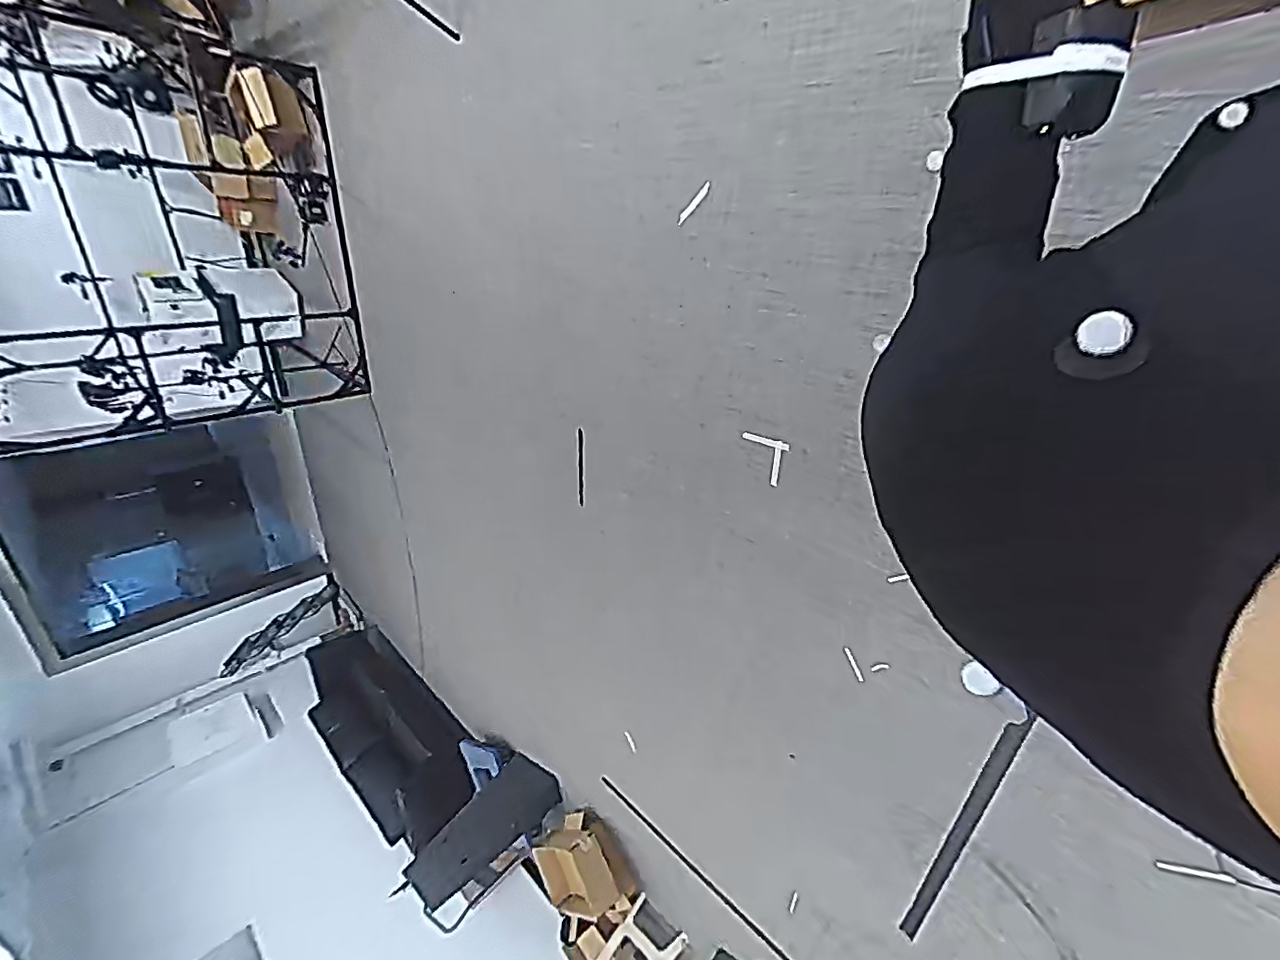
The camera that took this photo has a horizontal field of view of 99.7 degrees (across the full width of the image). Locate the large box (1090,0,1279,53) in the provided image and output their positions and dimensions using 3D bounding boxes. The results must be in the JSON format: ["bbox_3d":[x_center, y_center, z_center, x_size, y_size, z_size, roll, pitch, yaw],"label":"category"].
[{"bbox_3d":[0.503,-0.459,0.249,0.408,0.320,0.320,13,126,41],"label":"large box"}]
